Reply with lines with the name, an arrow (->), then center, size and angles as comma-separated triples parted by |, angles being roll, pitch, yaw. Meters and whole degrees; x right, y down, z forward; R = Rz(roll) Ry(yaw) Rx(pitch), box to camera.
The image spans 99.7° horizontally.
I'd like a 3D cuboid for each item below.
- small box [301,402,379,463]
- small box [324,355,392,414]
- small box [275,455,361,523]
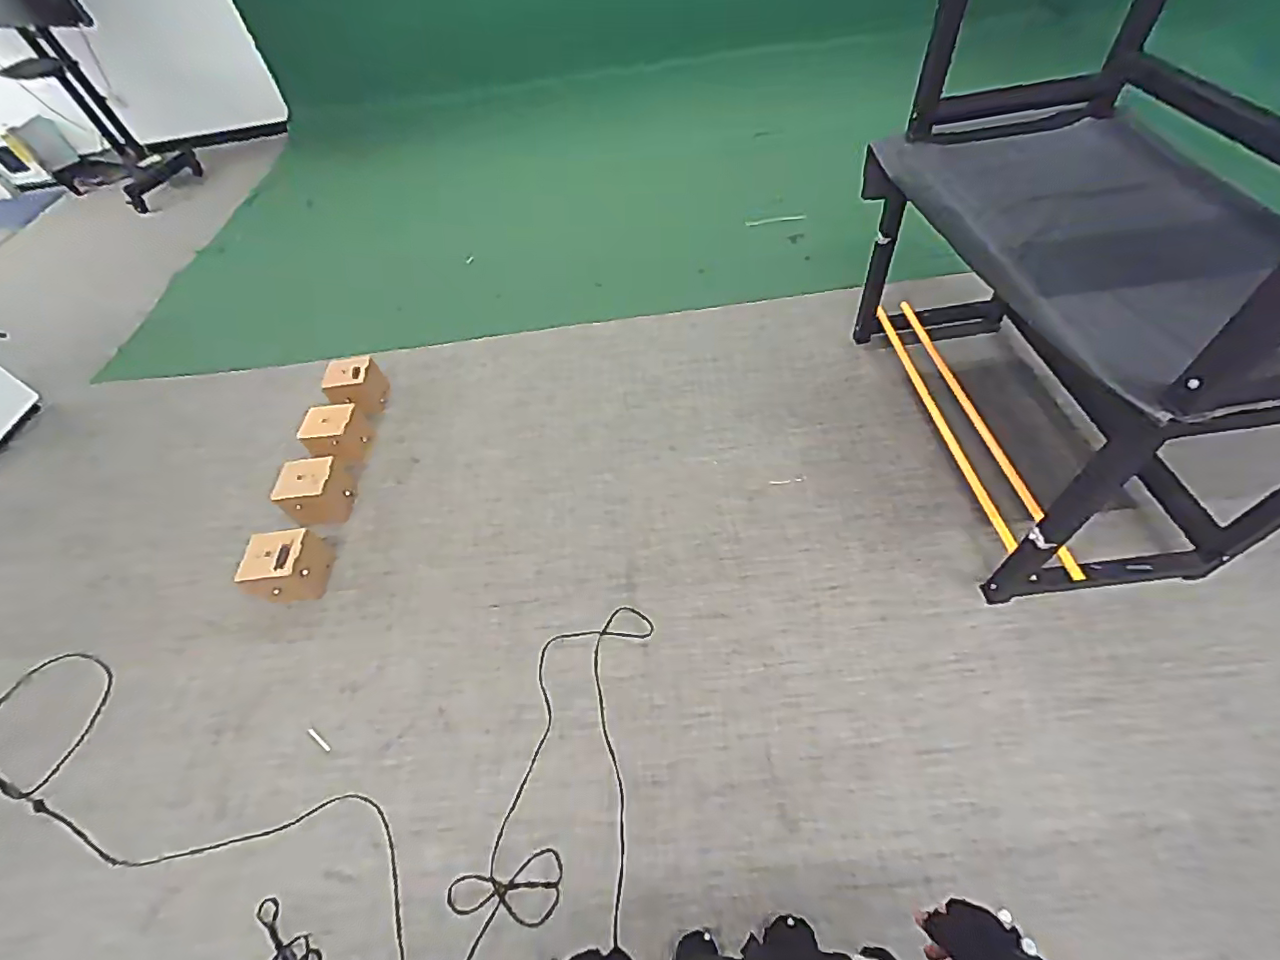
small box -> -1.131, -0.172, 2.052 | 0.179, 0.176, 0.168 | -5, 52, 3
small box -> -1.147, -0.384, 2.217 | 0.179, 0.176, 0.168 | -8, 52, 2
small box -> -1.114, 0.036, 1.884 | 0.179, 0.176, 0.168 | -7, 53, 2
